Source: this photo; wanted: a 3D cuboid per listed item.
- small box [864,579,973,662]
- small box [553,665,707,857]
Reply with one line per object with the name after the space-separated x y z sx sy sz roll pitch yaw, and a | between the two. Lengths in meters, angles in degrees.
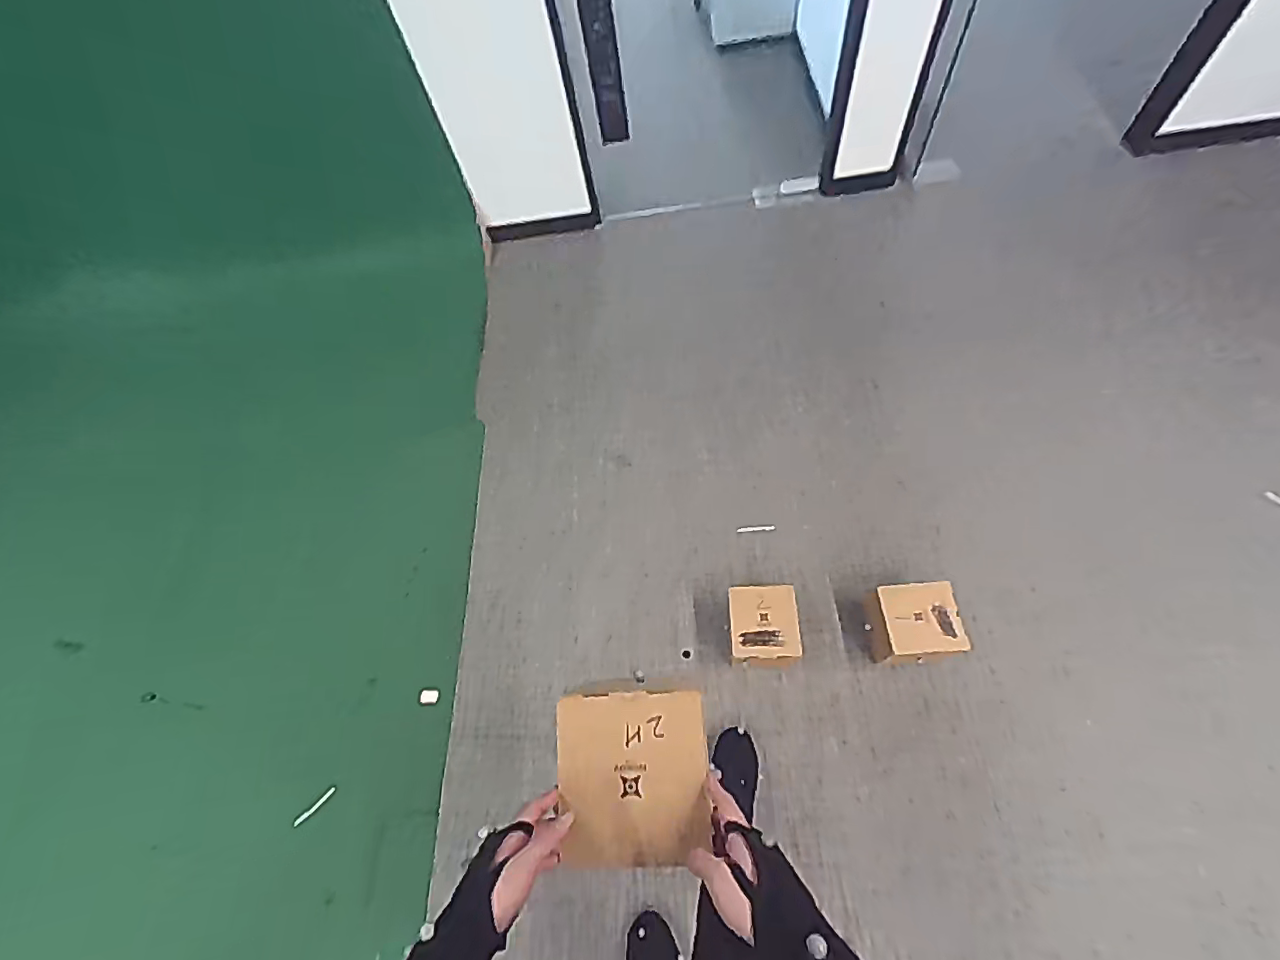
0.681 0.352 1.343 0.179 0.176 0.168 -6 62 6 | small box
-0.005 0.330 0.664 0.168 0.176 0.179 -4 75 6 | small box
